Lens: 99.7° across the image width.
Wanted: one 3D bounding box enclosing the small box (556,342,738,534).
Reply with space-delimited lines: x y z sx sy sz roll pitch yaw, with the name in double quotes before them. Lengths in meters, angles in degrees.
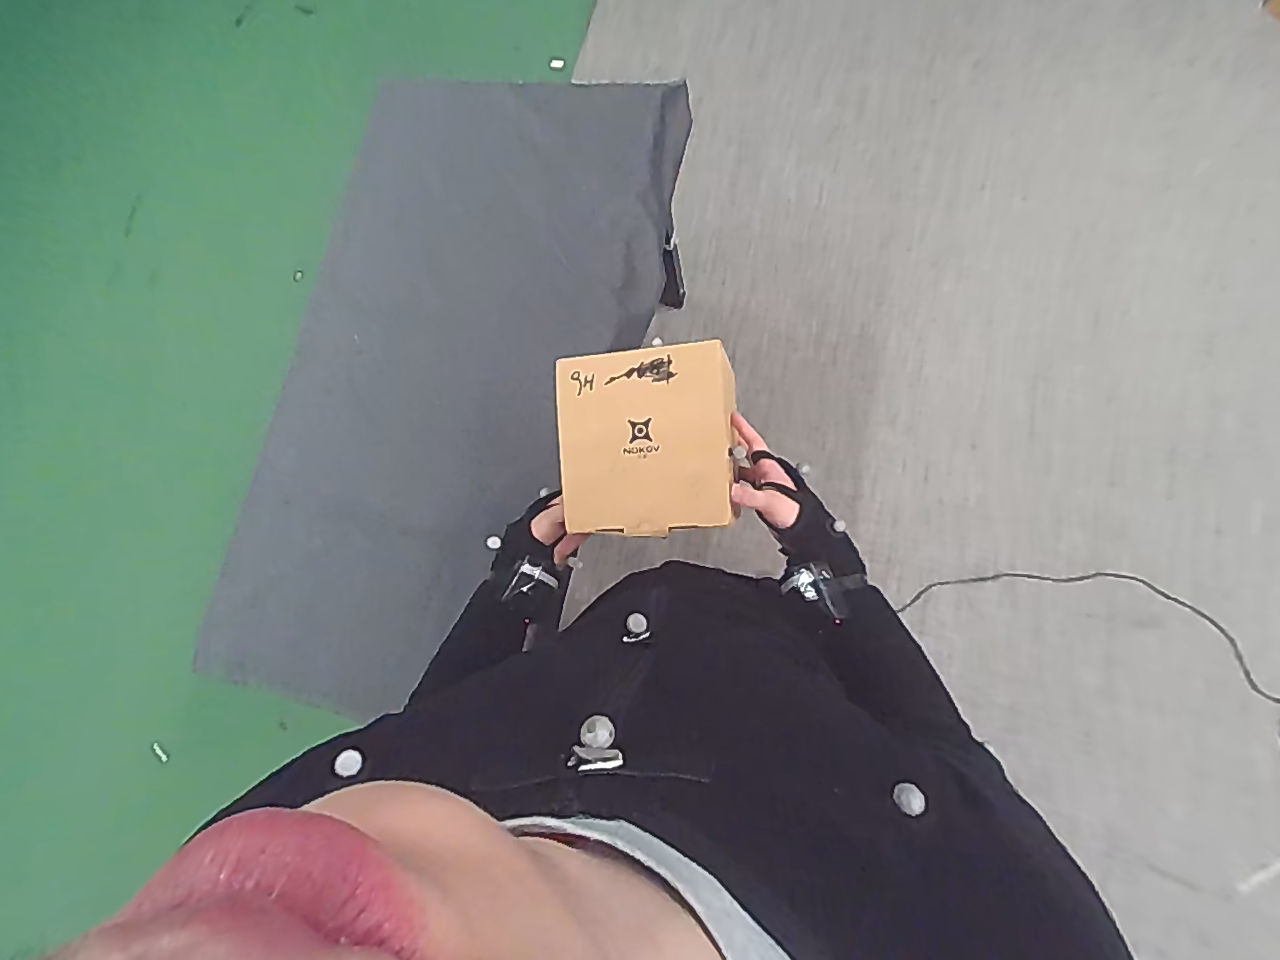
"small box" 0.018 -0.040 0.591 0.168 0.176 0.179 -3 91 12
